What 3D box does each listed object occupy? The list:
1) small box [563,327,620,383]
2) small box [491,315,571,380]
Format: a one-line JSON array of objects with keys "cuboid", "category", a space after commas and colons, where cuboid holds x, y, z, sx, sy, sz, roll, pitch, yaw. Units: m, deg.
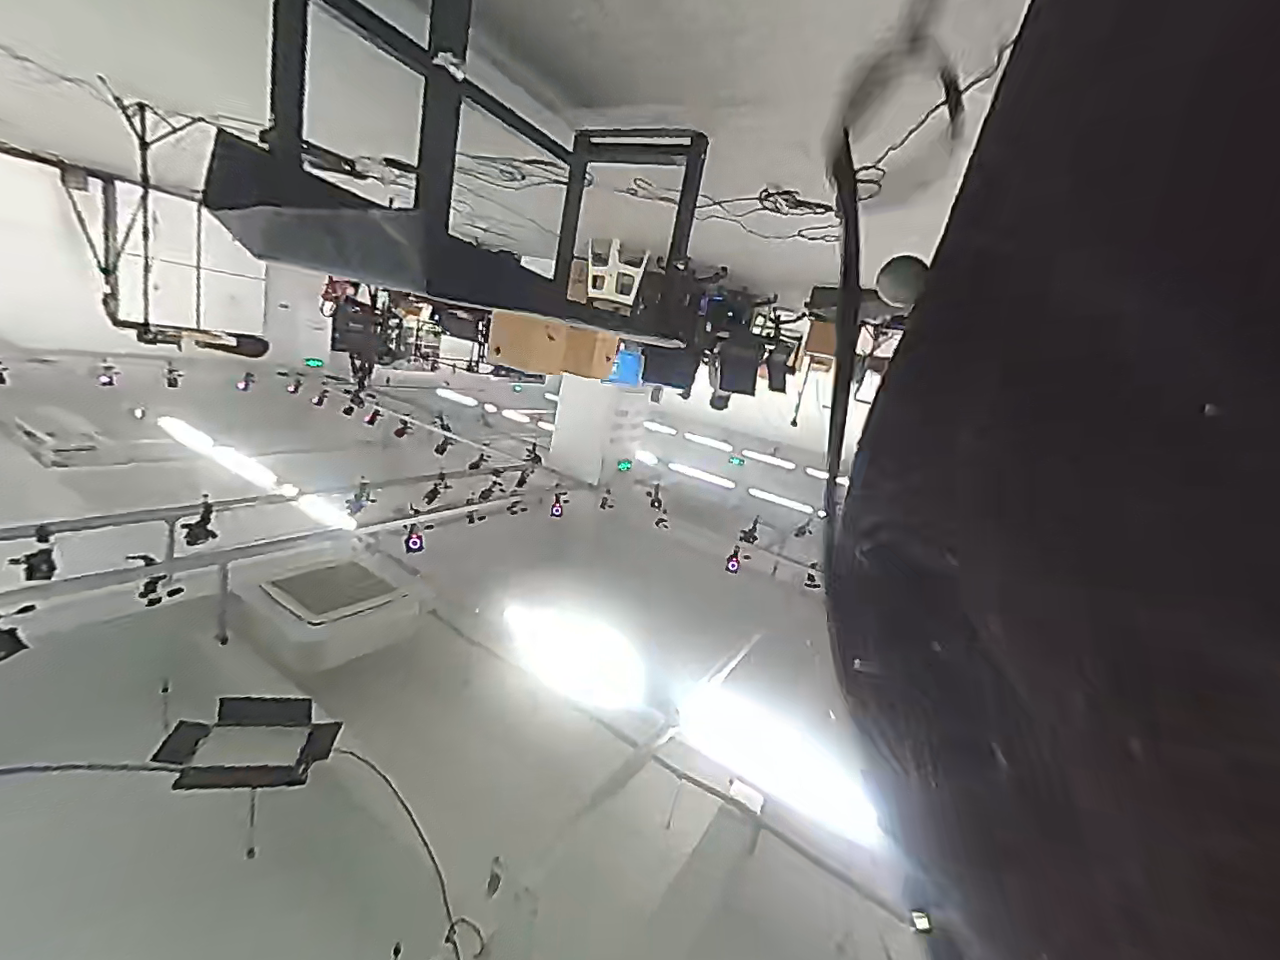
[{"cuboid": [-0.184, -0.455, 1.967, 0.179, 0.176, 0.168, 18, -165, 21], "category": "small box"}, {"cuboid": [-0.341, -0.421, 1.711, 0.179, 0.176, 0.168, 19, -164, 26], "category": "small box"}]
